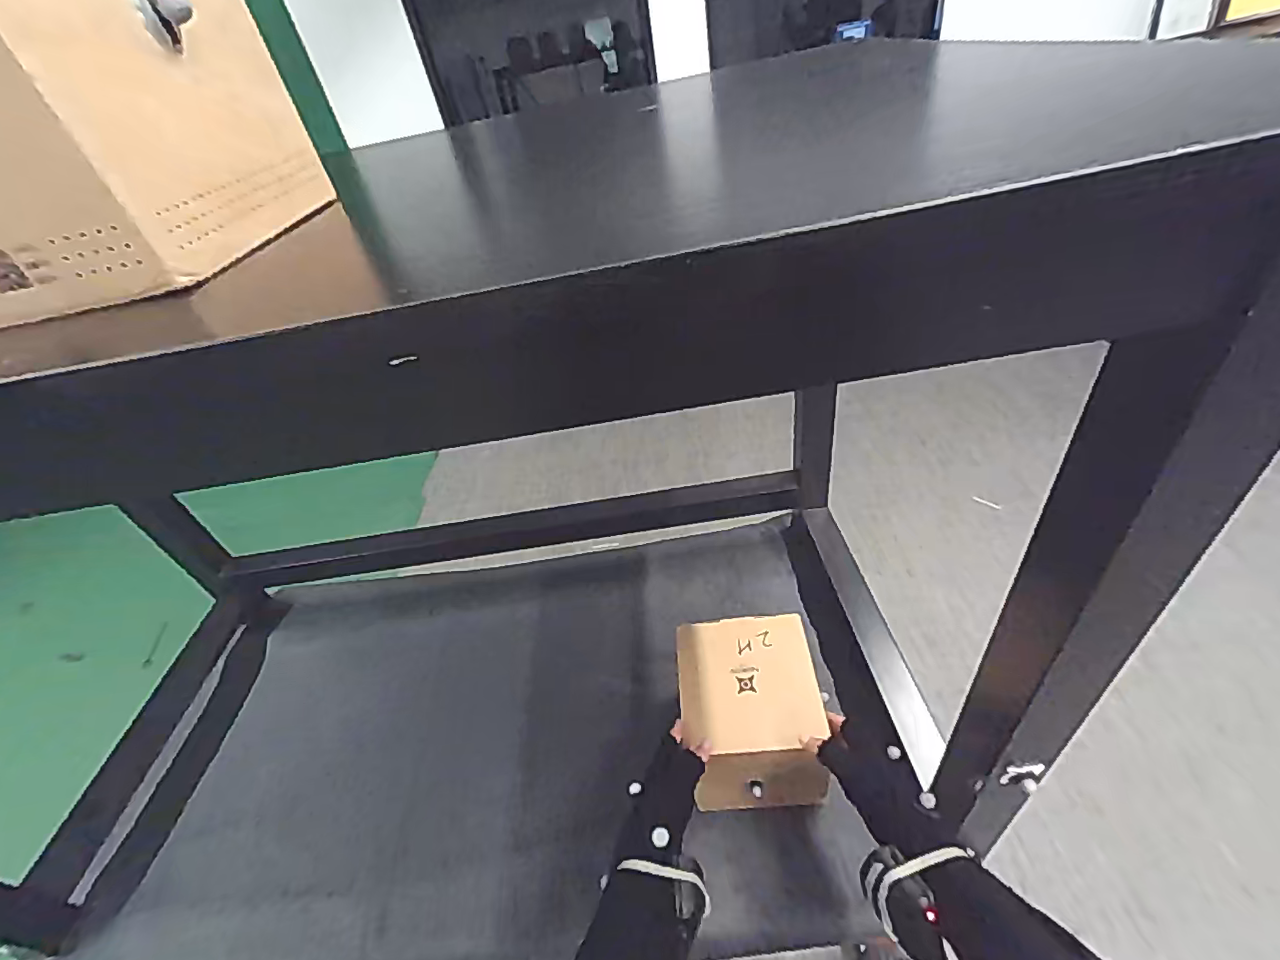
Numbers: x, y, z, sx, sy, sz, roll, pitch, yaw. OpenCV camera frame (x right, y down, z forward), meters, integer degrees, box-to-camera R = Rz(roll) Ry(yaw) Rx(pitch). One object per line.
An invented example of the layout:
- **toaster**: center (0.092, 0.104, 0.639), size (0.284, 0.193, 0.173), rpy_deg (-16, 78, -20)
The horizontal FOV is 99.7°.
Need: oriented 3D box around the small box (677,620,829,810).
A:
- **small box**: center (0.142, 0.310, 0.705), size (0.168, 0.176, 0.179), rpy_deg (-7, 39, 7)
